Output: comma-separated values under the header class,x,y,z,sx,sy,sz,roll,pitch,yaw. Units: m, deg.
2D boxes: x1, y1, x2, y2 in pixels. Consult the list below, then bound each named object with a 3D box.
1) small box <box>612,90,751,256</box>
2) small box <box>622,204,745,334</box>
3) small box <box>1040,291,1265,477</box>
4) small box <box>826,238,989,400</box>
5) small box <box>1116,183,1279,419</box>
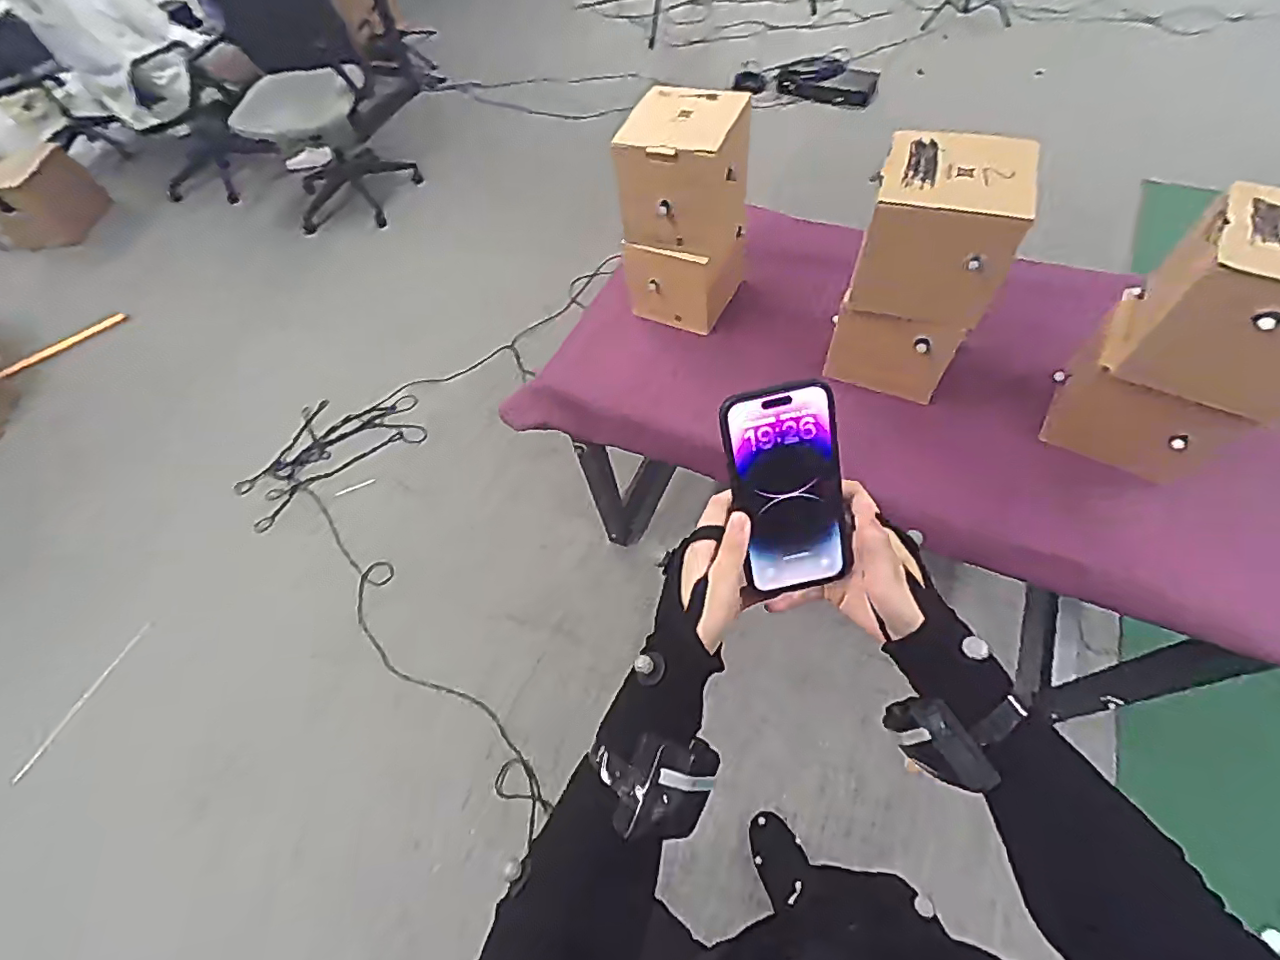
class,x,y,z,sx,sy,sz,roll,pitch,yaw
small box,0.074,-0.495,0.879,0.168,0.176,0.179,17,63,16
small box,0.089,-0.403,1.015,0.168,0.176,0.179,22,64,19
small box,0.718,-0.128,0.762,0.179,0.176,0.168,27,65,22
small box,0.424,-0.255,0.878,0.179,0.176,0.168,21,64,19
small box,0.700,-0.198,0.614,0.179,0.176,0.168,27,65,21
